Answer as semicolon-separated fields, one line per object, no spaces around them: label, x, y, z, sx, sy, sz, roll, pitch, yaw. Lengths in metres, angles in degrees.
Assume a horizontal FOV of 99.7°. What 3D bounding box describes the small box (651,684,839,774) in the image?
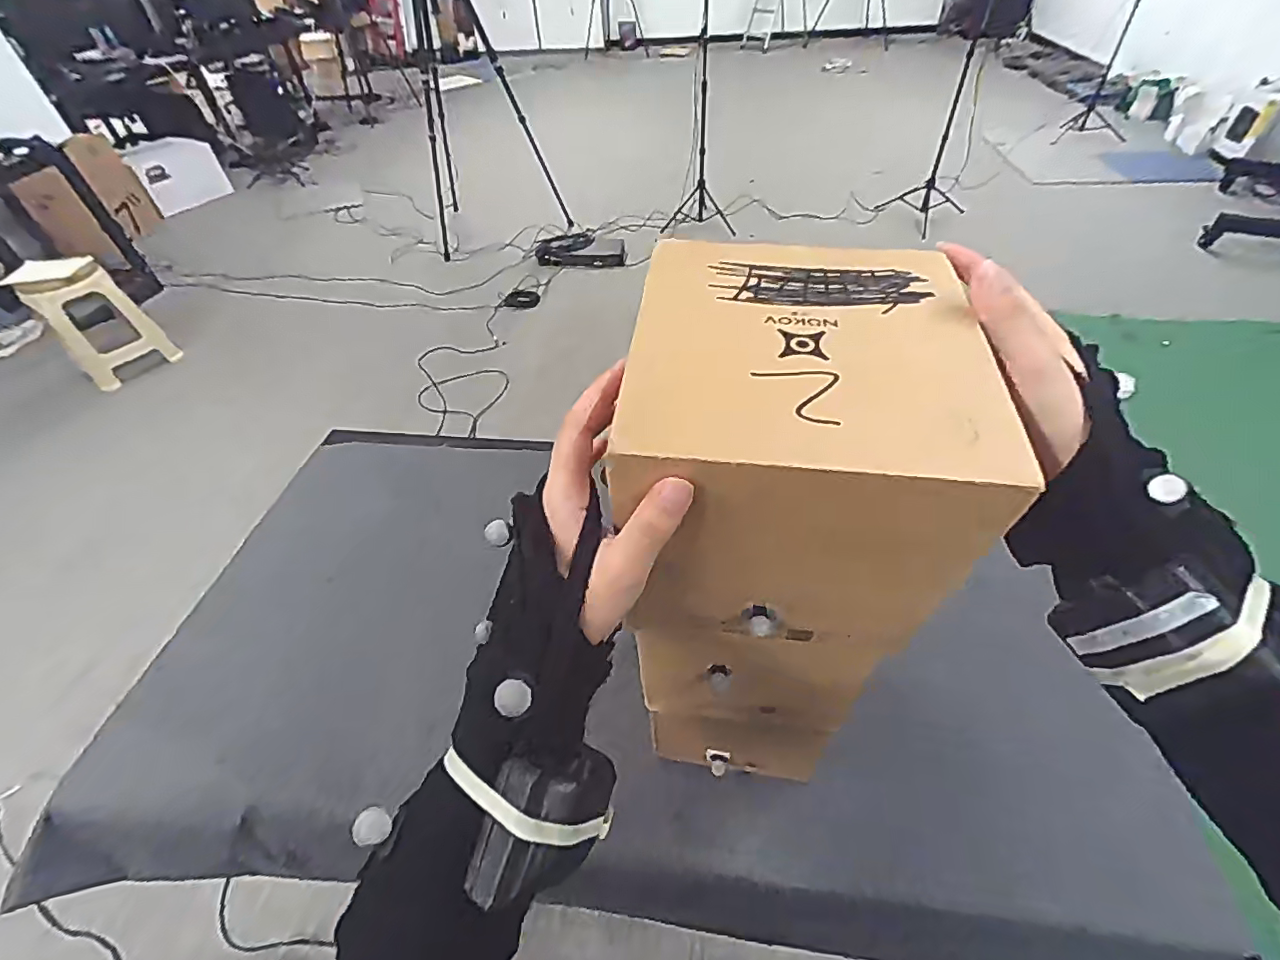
small box;0.107;0.191;0.584;0.168;0.176;0.179;3;48;9

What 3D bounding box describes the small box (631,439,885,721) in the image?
small box;0.092;0.085;0.461;0.168;0.176;0.179;2;46;8
